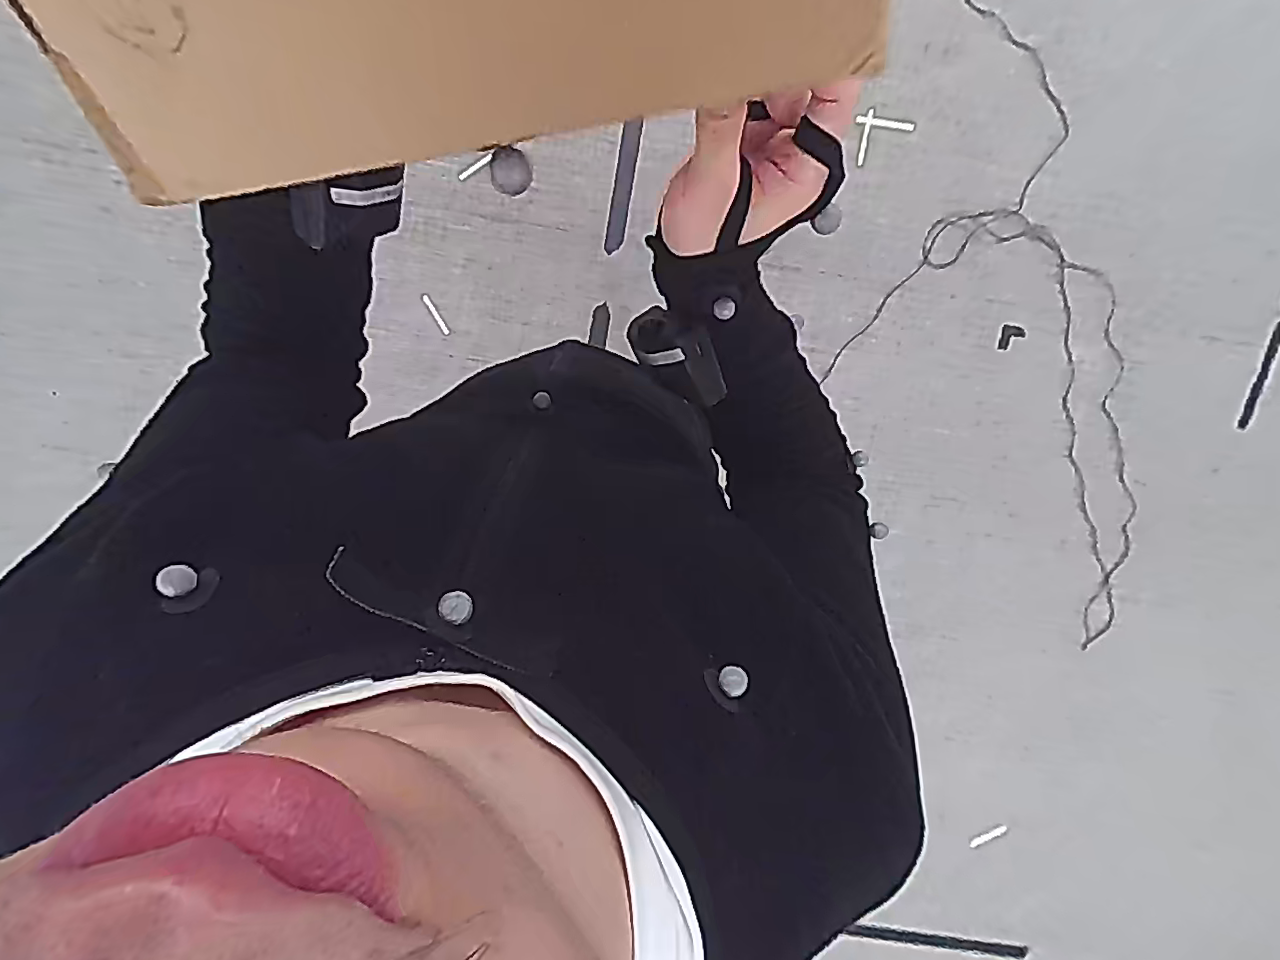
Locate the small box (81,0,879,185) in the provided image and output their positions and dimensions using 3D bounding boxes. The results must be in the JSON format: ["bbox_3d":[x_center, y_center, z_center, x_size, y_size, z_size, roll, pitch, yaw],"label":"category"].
[{"bbox_3d":[-0.040,-0.195,0.145,0.179,0.176,0.168,-5,126,11],"label":"small box"}]
